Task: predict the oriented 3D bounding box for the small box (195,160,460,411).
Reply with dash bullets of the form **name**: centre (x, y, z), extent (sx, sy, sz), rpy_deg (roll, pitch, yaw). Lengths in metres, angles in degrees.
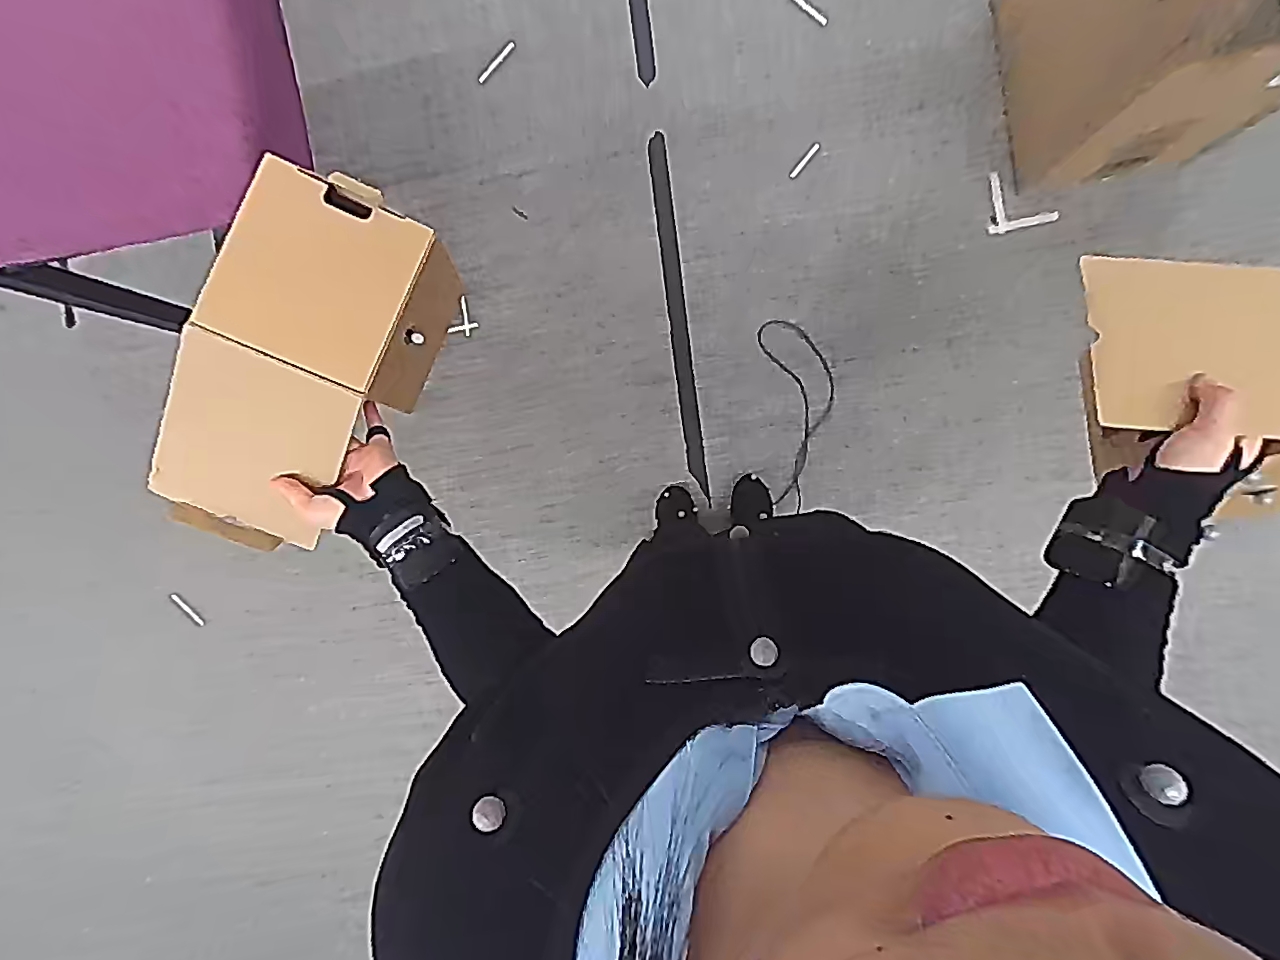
- **small box**: centre (-0.313, -0.188, 0.587), extent (0.168, 0.176, 0.179), rpy_deg (23, 87, -8)
